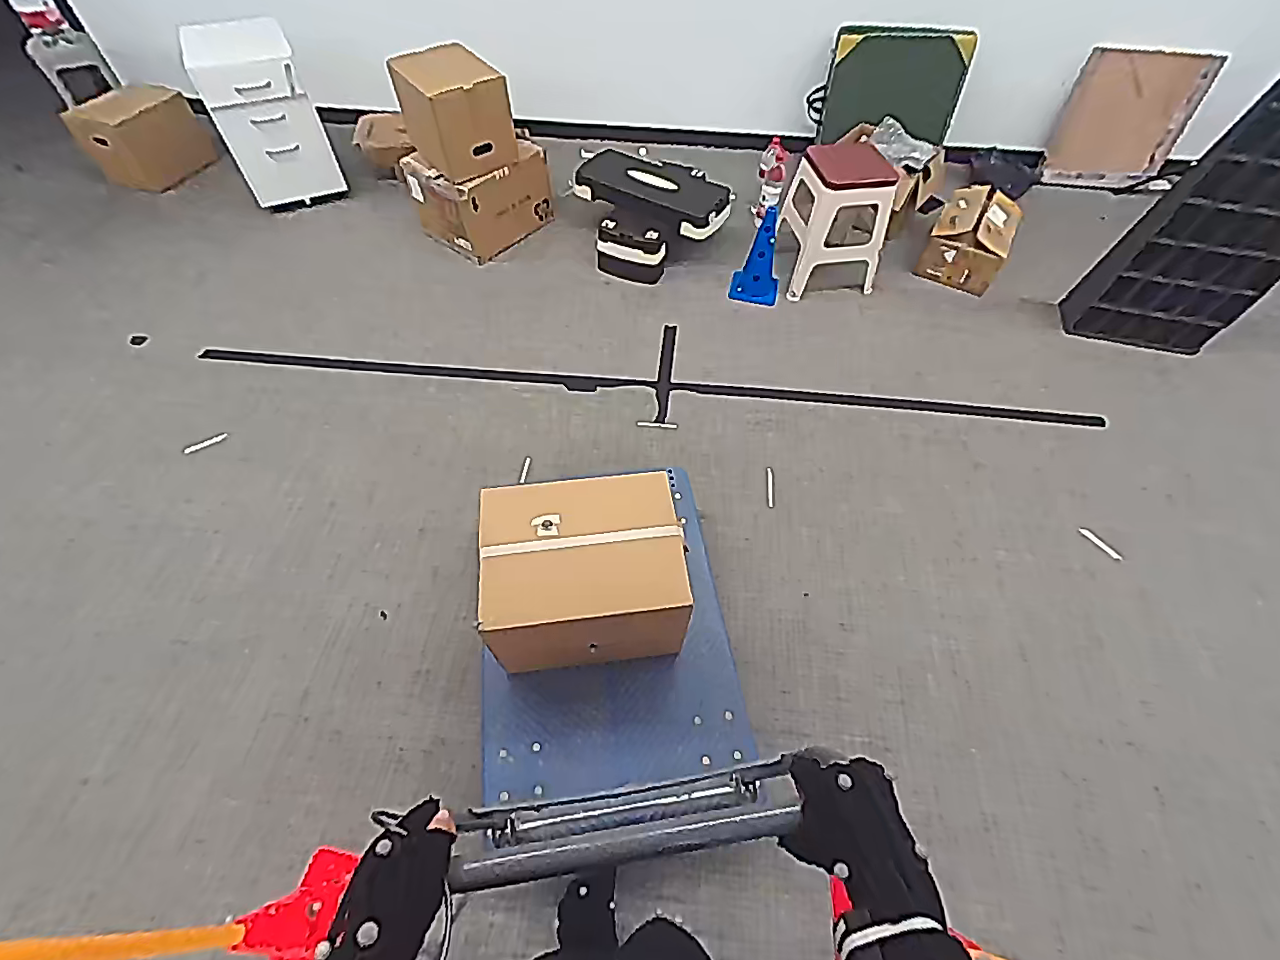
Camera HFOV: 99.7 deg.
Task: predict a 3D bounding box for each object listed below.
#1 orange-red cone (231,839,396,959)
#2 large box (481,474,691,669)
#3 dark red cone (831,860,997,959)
[{"bbox_3d":[-0.627,0.783,0.985,0.198,0.360,0.199,13,55,6],"label":"orange-red cone"},{"bbox_3d":[-0.119,0.213,1.216,0.408,0.320,0.320,-6,57,-5],"label":"large box"},{"bbox_3d":[0.506,0.817,0.973,0.201,0.394,0.202,7,56,1],"label":"dark red cone"}]
